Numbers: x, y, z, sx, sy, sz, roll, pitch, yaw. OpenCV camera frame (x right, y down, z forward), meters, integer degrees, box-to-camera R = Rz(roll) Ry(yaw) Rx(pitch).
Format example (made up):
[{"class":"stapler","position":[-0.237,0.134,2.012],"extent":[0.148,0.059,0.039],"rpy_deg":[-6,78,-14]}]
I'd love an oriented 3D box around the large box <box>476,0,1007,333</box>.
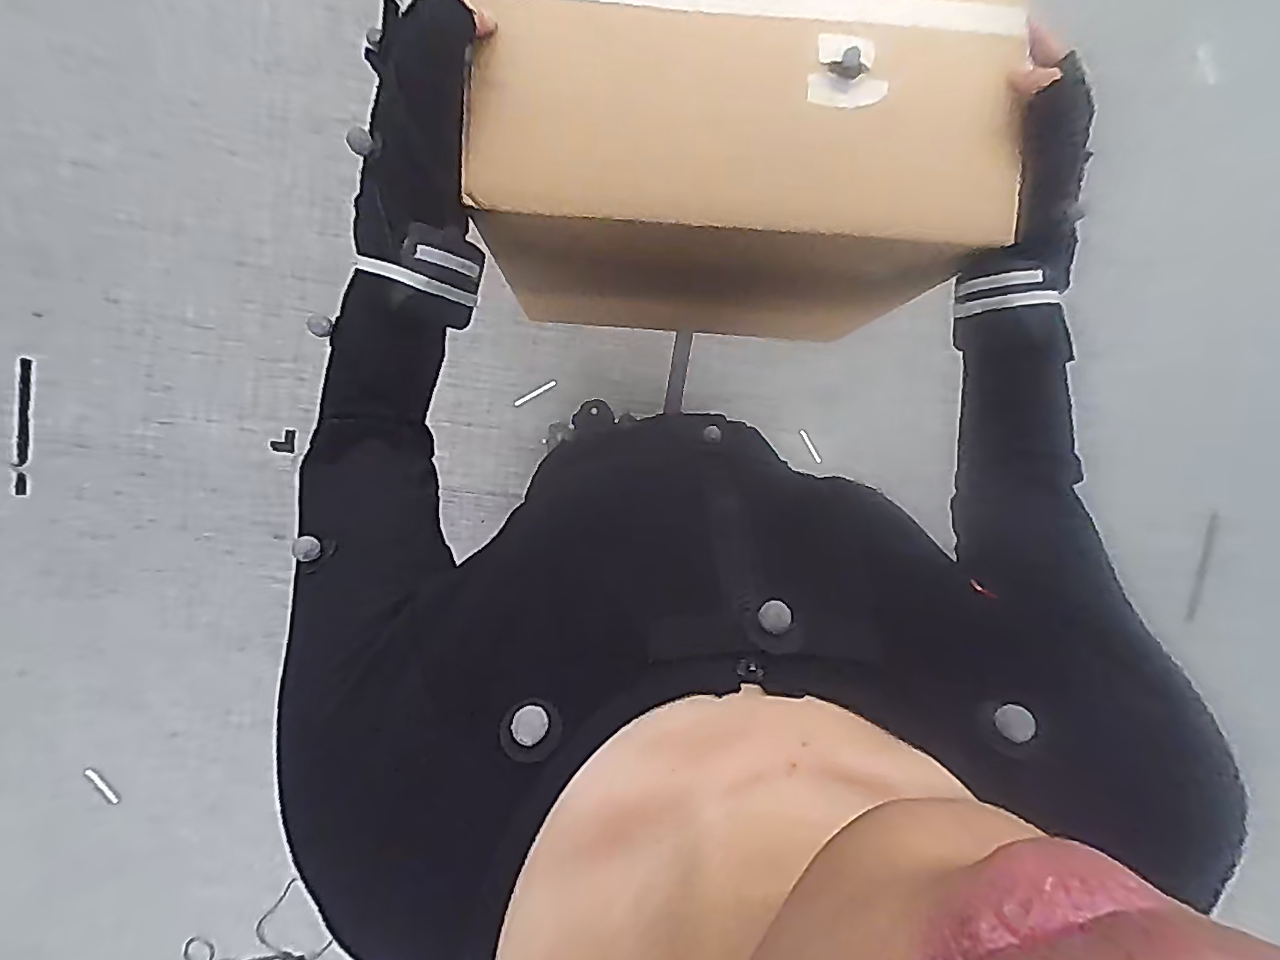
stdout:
[{"class":"large box","position":[0.071,-0.348,0.552],"extent":[0.408,0.320,0.320],"rpy_deg":[3,92,-4]}]

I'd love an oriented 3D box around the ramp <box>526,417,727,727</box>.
[{"class":"ramp","position":[-0.064,0.325,1.629],"extent":[0.509,0.206,0.991],"rpy_deg":[6,98,-4]}]
